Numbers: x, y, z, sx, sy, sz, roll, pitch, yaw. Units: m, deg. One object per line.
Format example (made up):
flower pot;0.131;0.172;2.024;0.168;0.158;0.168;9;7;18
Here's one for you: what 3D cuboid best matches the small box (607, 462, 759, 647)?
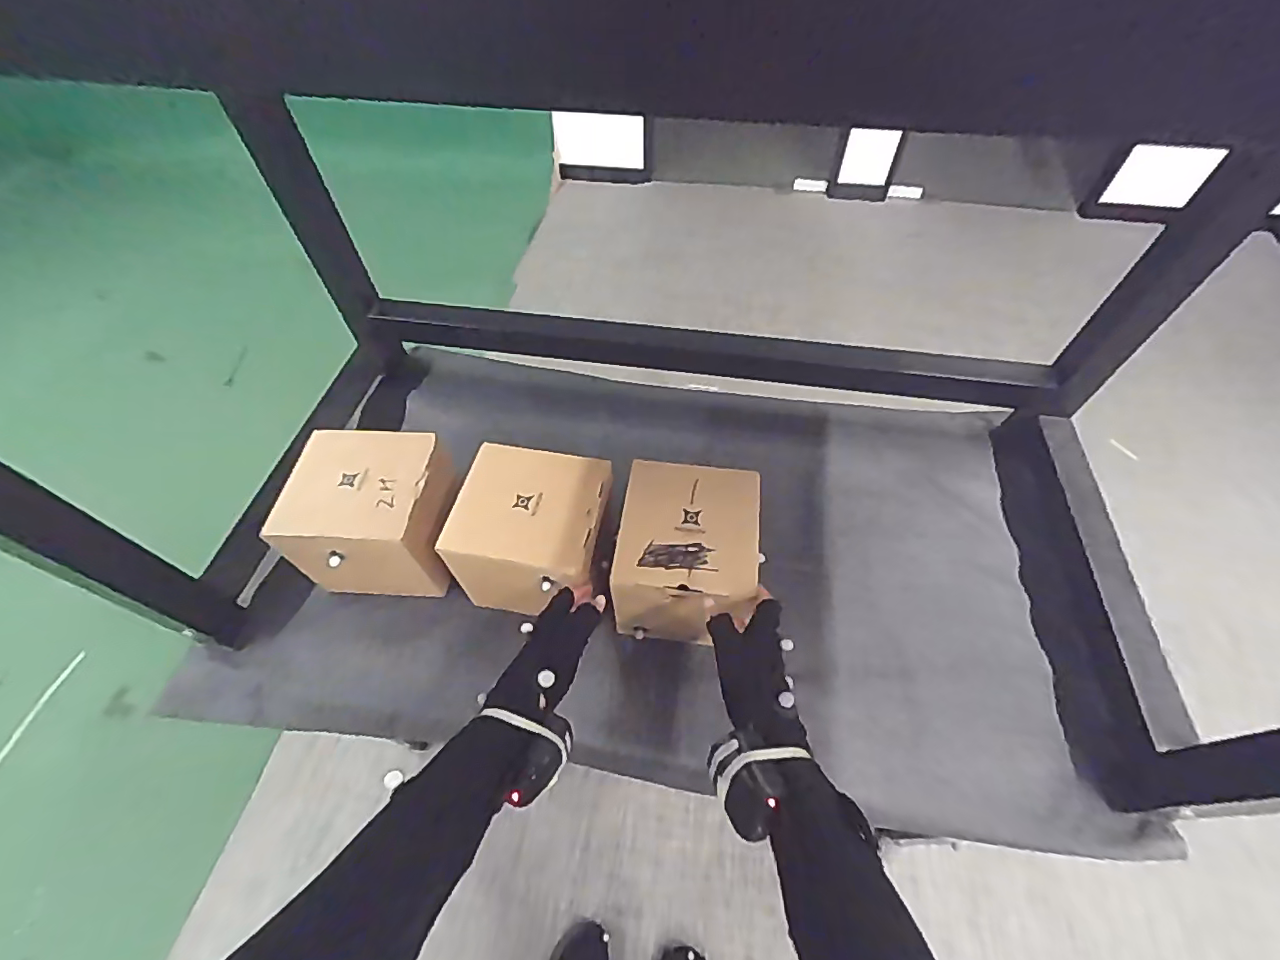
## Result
small box;0.059;0.101;0.705;0.168;0.176;0.179;6;54;6
